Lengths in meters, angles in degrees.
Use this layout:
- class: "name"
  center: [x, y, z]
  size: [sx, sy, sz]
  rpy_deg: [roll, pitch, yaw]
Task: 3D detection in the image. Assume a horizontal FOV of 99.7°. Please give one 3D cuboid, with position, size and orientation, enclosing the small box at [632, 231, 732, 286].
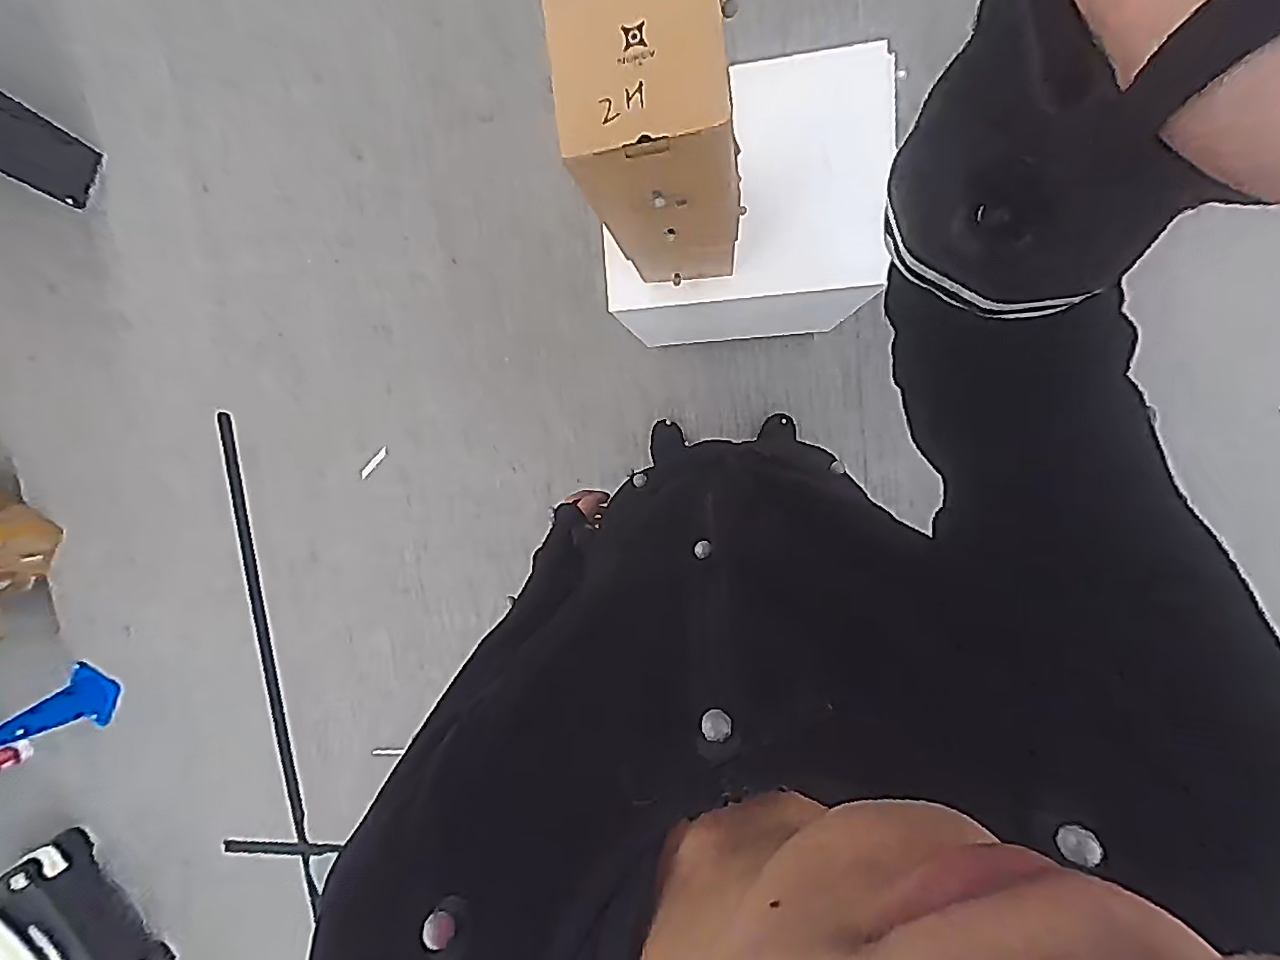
- class: "small box"
  center: [0.066, -0.439, 0.902]
  size: [0.168, 0.176, 0.179]
  rpy_deg: [-2, 96, 8]

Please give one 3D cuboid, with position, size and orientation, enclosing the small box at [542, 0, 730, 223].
- class: "small box"
  center: [0.005, -0.406, 0.580]
  size: [0.168, 0.176, 0.179]
  rpy_deg: [-6, 95, 10]

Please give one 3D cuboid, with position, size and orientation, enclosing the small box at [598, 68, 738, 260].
- class: "small box"
  center: [0.037, -0.419, 0.742]
  size: [0.179, 0.176, 0.168]
  rpy_deg: [-6, 95, 10]
